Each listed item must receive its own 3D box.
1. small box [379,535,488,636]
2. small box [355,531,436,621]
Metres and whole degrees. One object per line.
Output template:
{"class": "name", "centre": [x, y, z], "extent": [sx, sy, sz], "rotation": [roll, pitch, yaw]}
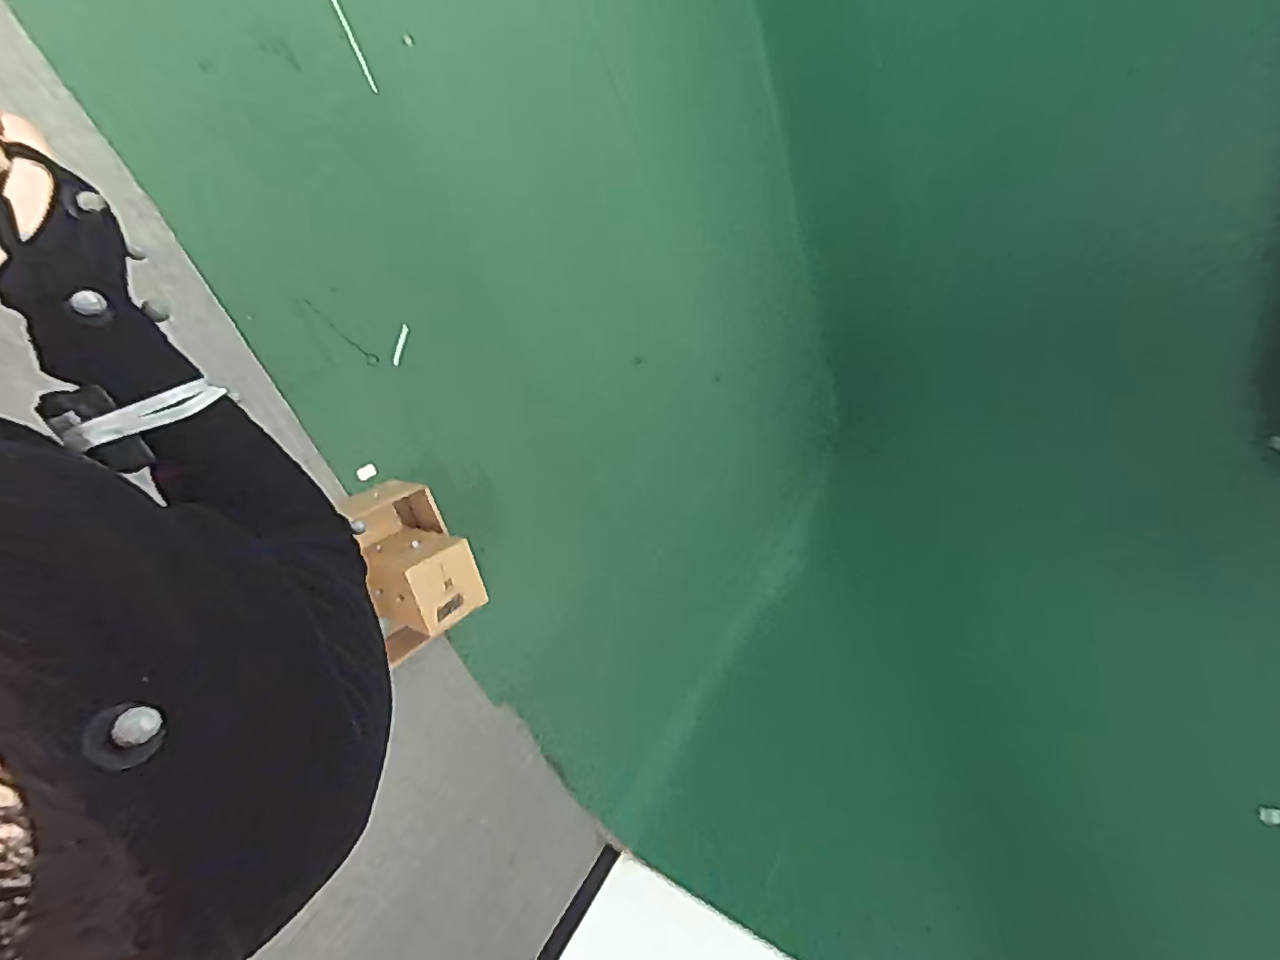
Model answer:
{"class": "small box", "centre": [-0.510, 0.252, 1.334], "extent": [0.168, 0.176, 0.179], "rotation": [-30, 113, -43]}
{"class": "small box", "centre": [-0.629, 0.248, 1.447], "extent": [0.168, 0.176, 0.179], "rotation": [-32, 115, -42]}
